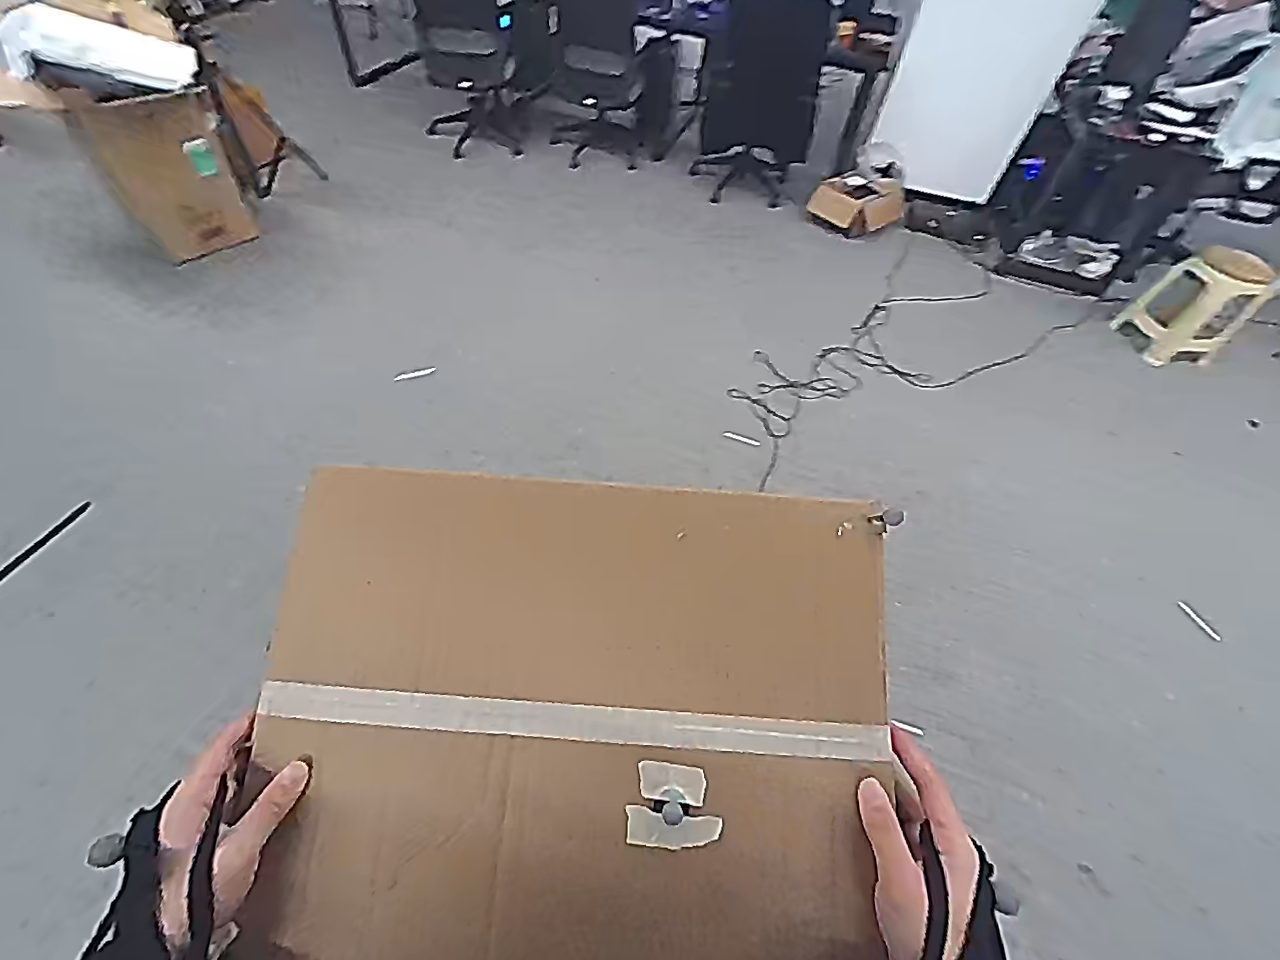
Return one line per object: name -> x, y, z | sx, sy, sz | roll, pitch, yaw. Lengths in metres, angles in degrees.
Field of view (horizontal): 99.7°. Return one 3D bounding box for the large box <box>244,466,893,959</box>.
large box -> -0.037, 0.186, 0.506 | 0.408, 0.320, 0.320 | 5, 77, 1
